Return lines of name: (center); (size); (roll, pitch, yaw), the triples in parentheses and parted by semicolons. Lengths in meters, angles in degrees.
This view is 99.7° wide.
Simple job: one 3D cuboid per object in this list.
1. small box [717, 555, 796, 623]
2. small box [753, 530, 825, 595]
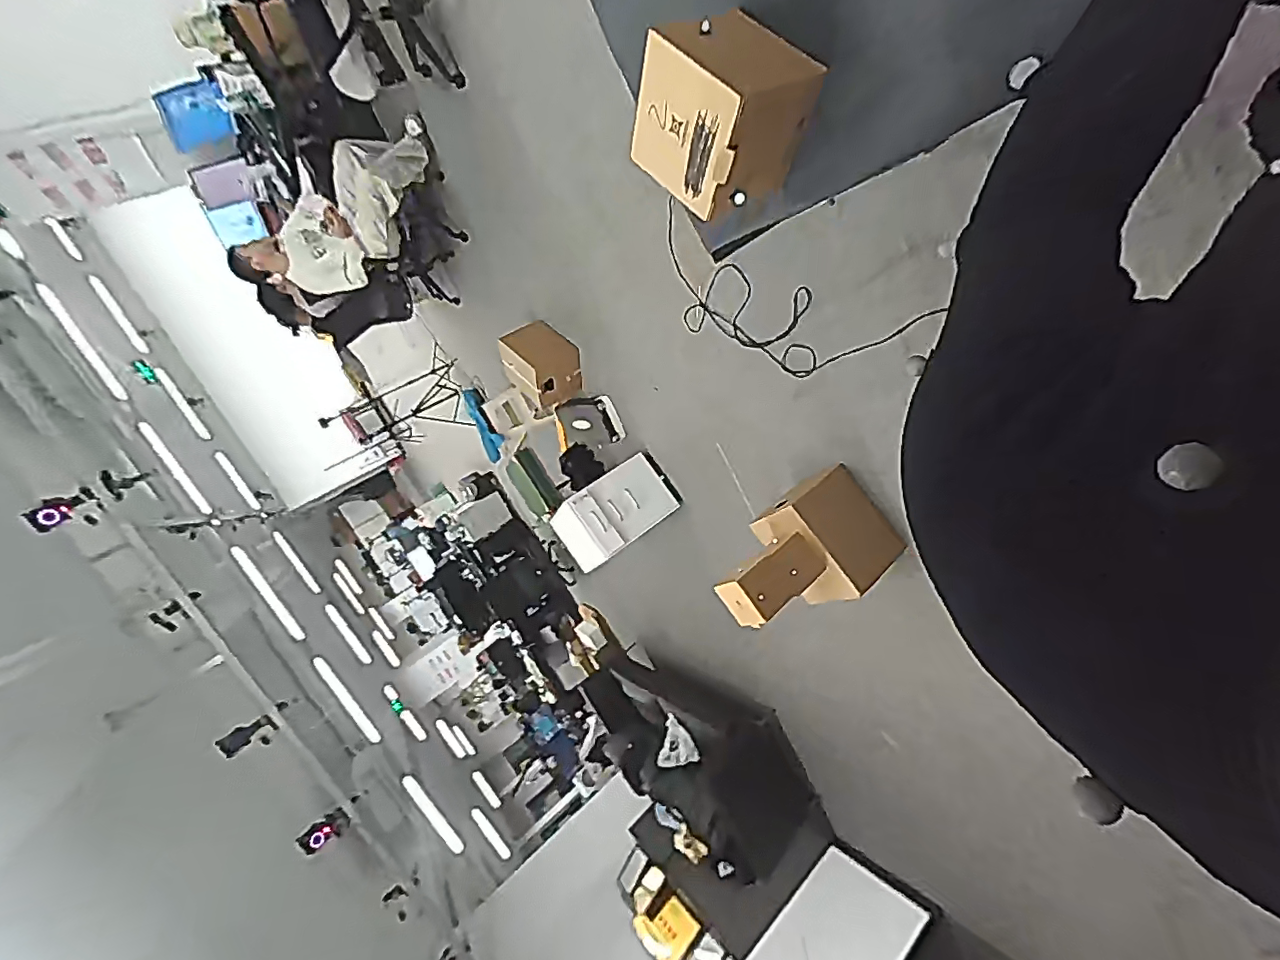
small box: (0.416, 0.381, 1.919); (0.179, 0.176, 0.168); (54, 153, 3)
small box: (0.544, 0.310, 1.989); (0.179, 0.176, 0.168); (54, 154, 4)
